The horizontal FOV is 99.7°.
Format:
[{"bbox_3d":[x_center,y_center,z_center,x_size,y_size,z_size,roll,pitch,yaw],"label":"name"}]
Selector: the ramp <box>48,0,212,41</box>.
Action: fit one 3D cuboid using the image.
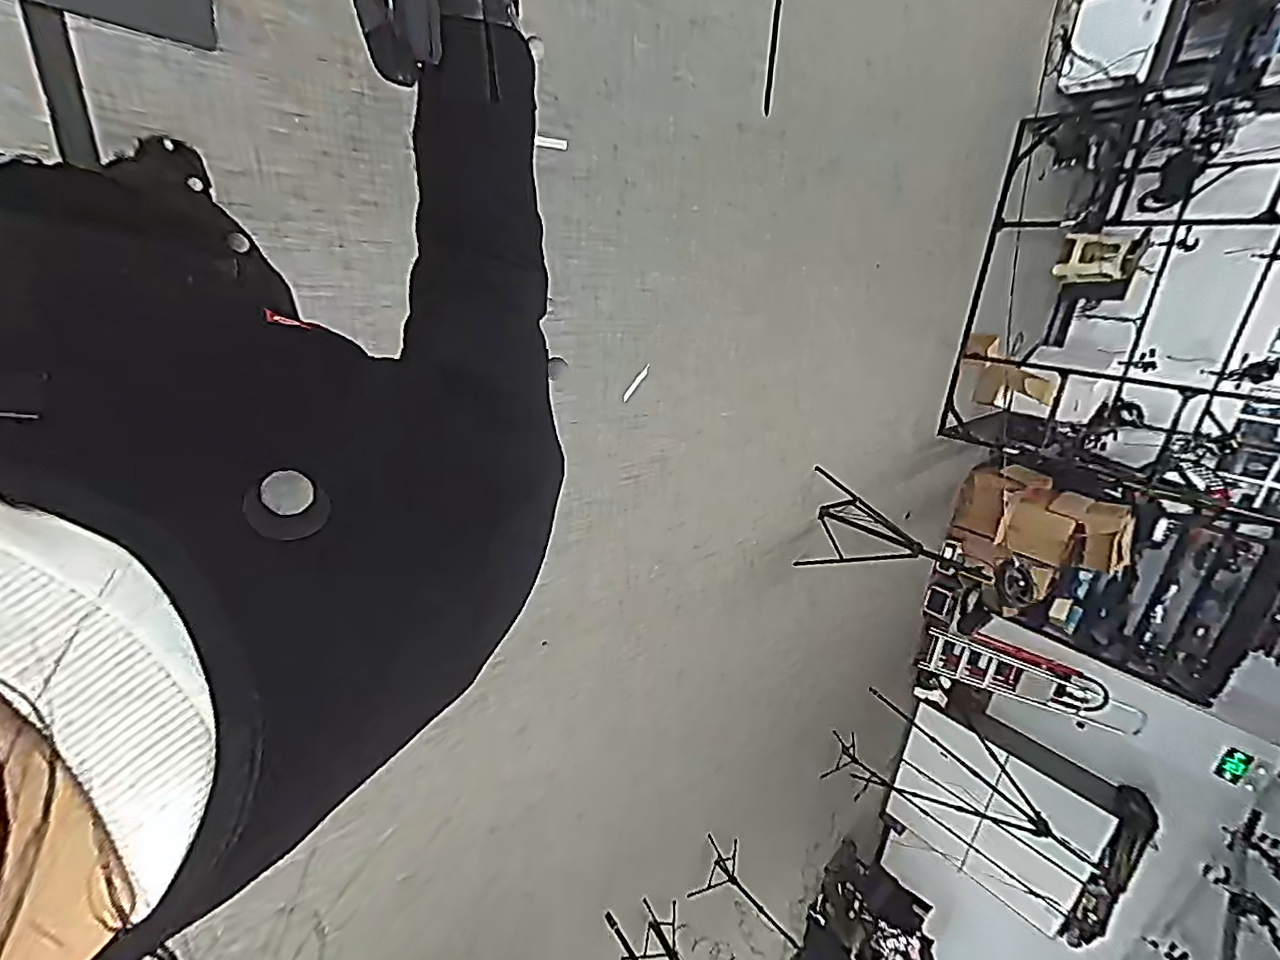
[{"bbox_3d":[-0.874,-1.199,0.625,0.509,0.206,0.991,-14,118,-40],"label":"ramp"}]
